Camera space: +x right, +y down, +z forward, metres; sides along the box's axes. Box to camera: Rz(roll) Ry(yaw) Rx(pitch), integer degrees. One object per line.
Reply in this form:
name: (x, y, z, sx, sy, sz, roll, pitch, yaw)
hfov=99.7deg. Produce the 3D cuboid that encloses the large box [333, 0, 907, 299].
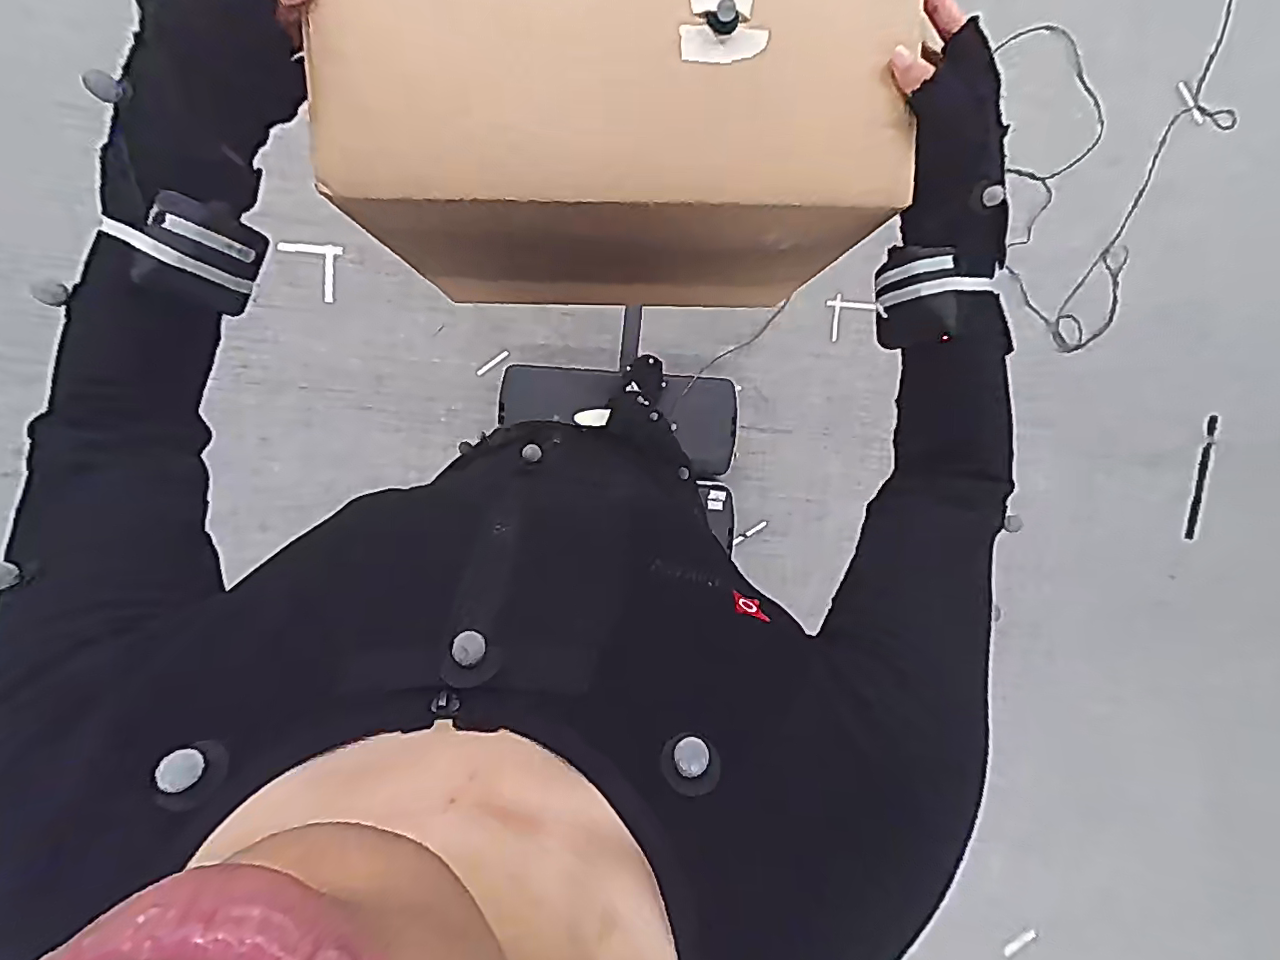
large box: (-0.019, -0.369, 0.518, 0.408, 0.320, 0.320, -1, 96, -4)

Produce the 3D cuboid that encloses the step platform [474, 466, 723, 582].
step platform: (-0.110, 0.122, 1.522, 0.684, 0.204, 0.286, 3, 94, -2)
